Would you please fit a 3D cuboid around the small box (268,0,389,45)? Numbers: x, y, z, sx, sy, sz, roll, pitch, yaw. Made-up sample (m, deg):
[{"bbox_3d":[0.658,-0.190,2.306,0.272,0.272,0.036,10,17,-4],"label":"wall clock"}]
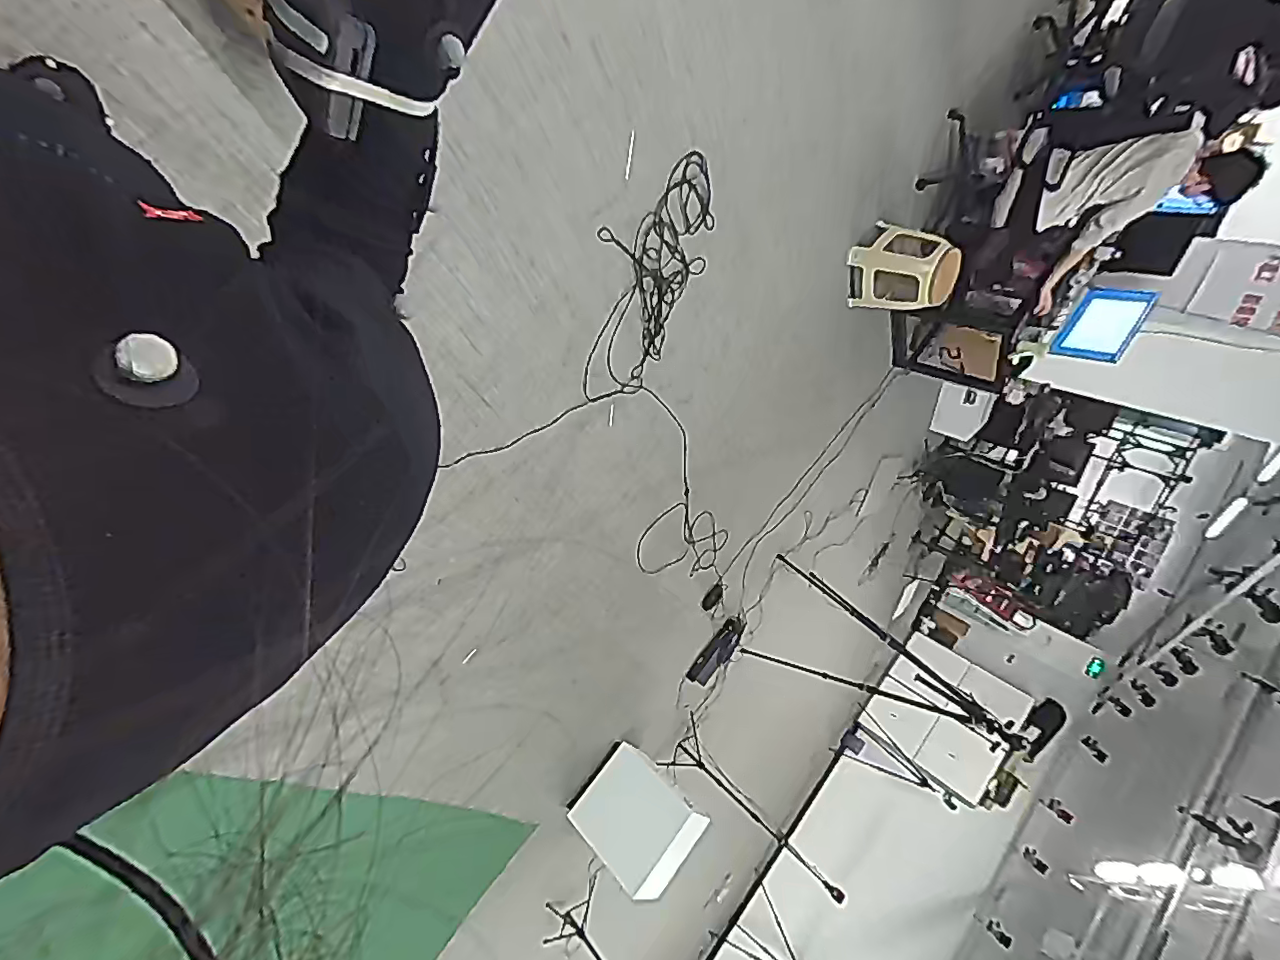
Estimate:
[{"bbox_3d":[-0.530,-0.848,0.878,0.168,0.176,0.179,-52,140,-10],"label":"small box"}]
